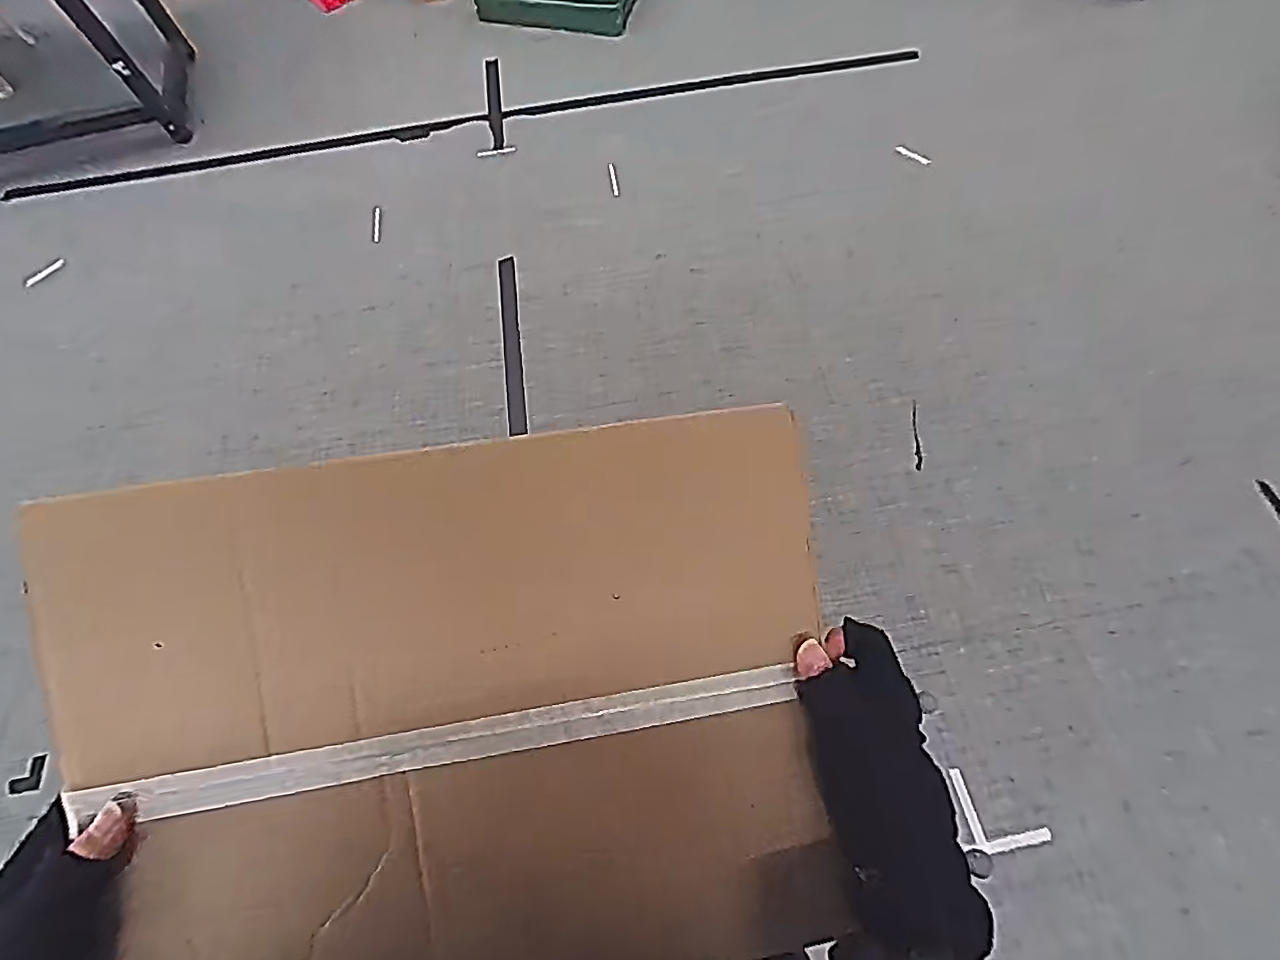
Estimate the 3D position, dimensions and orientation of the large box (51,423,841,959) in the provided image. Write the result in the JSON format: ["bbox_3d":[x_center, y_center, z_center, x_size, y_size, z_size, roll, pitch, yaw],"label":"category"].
[{"bbox_3d":[-0.105,0.142,0.455,0.408,0.320,0.320,-8,92,-5],"label":"large box"}]
